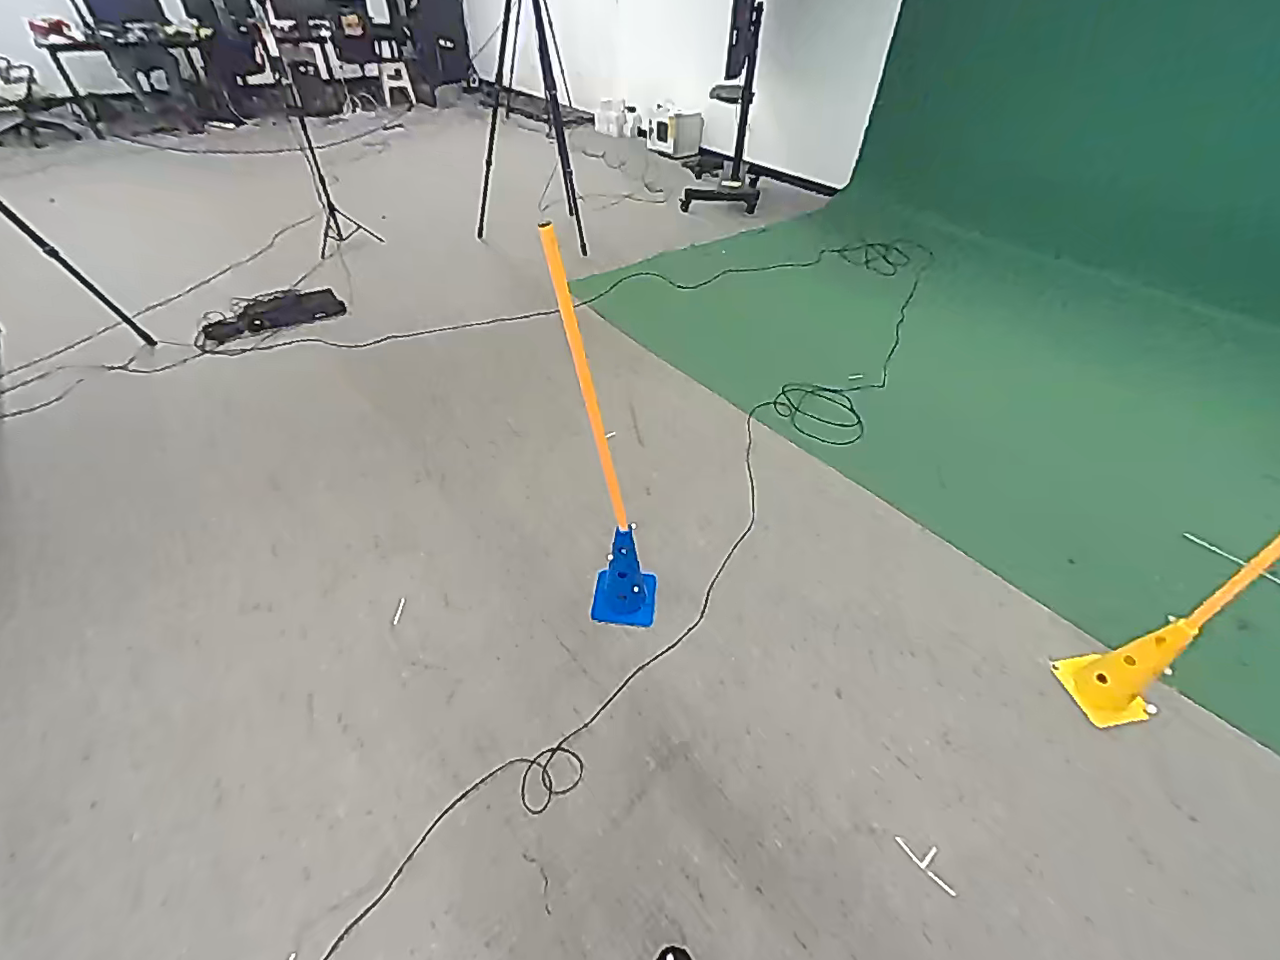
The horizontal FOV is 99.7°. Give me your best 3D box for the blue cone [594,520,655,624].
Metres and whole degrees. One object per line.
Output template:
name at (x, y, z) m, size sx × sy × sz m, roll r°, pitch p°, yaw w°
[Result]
blue cone at (-0.050, 0.263, 1.632) m, size 0.193 × 0.380 × 0.192 m, roll 3°, pitch 45°, yaw 3°
